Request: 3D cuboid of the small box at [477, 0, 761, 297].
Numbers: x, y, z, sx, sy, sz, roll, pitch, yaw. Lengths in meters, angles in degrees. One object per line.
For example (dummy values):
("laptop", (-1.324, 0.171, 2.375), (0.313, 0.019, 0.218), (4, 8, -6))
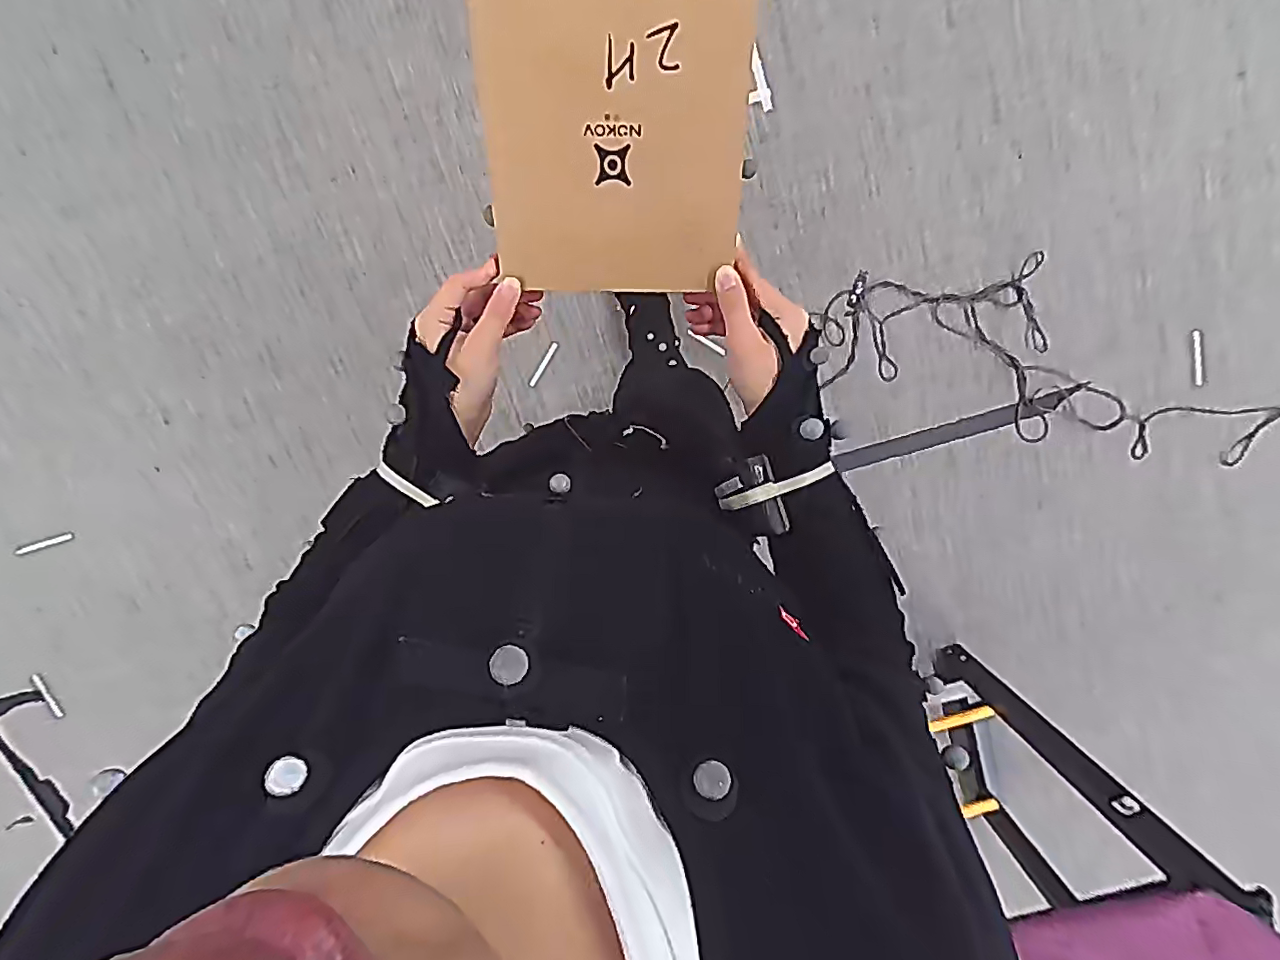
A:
("small box", (-0.012, -0.250, 0.416), (0.168, 0.176, 0.179), (1, 120, 0))
